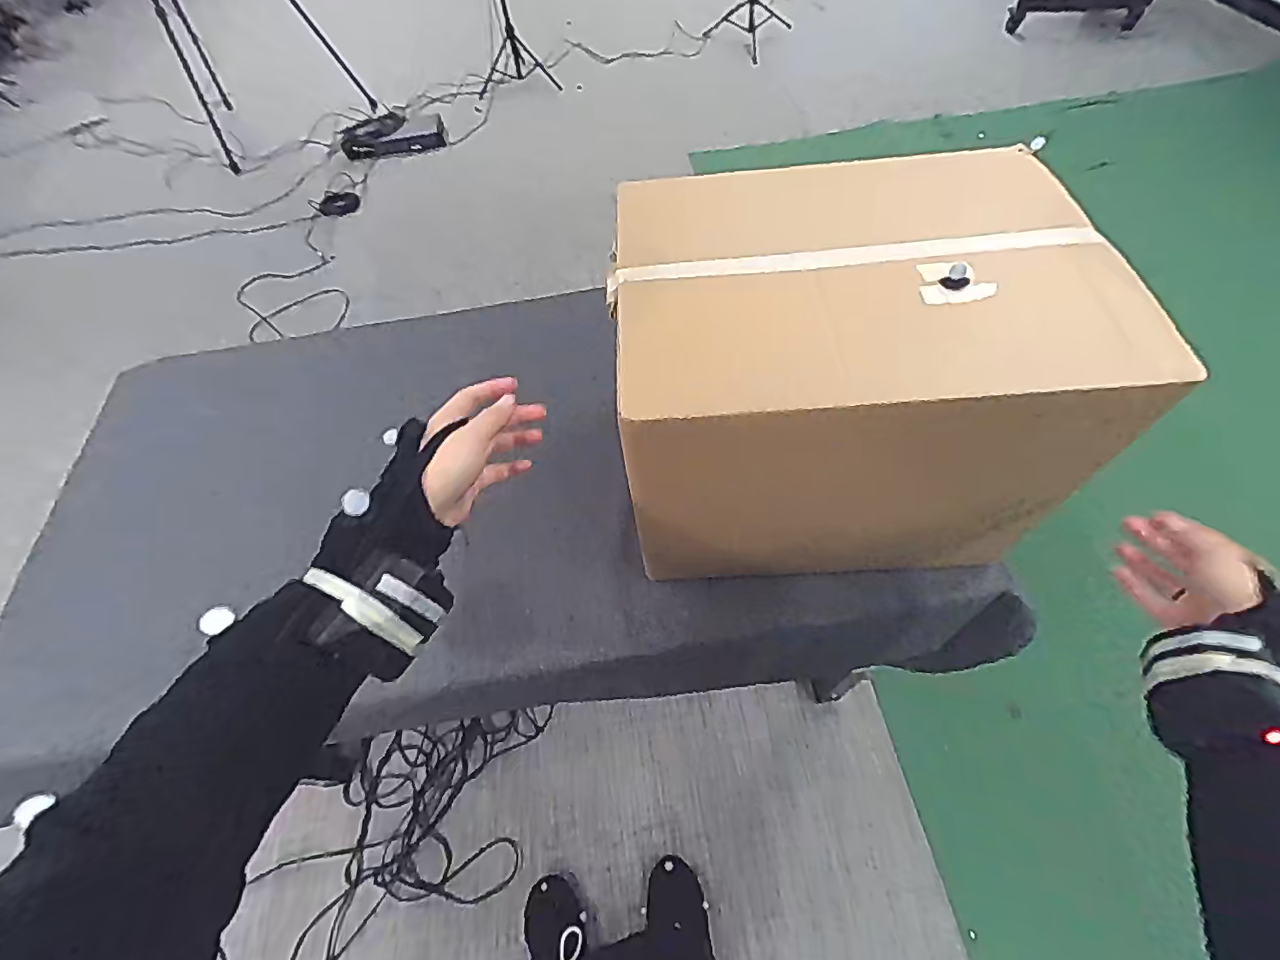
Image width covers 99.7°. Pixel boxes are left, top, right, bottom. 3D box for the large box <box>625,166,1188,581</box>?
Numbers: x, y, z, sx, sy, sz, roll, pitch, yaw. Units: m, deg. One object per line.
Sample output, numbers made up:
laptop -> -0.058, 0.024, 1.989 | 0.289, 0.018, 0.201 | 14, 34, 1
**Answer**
large box -> 0.195, -0.098, 0.593 | 0.408, 0.320, 0.320 | -3, 57, 2
